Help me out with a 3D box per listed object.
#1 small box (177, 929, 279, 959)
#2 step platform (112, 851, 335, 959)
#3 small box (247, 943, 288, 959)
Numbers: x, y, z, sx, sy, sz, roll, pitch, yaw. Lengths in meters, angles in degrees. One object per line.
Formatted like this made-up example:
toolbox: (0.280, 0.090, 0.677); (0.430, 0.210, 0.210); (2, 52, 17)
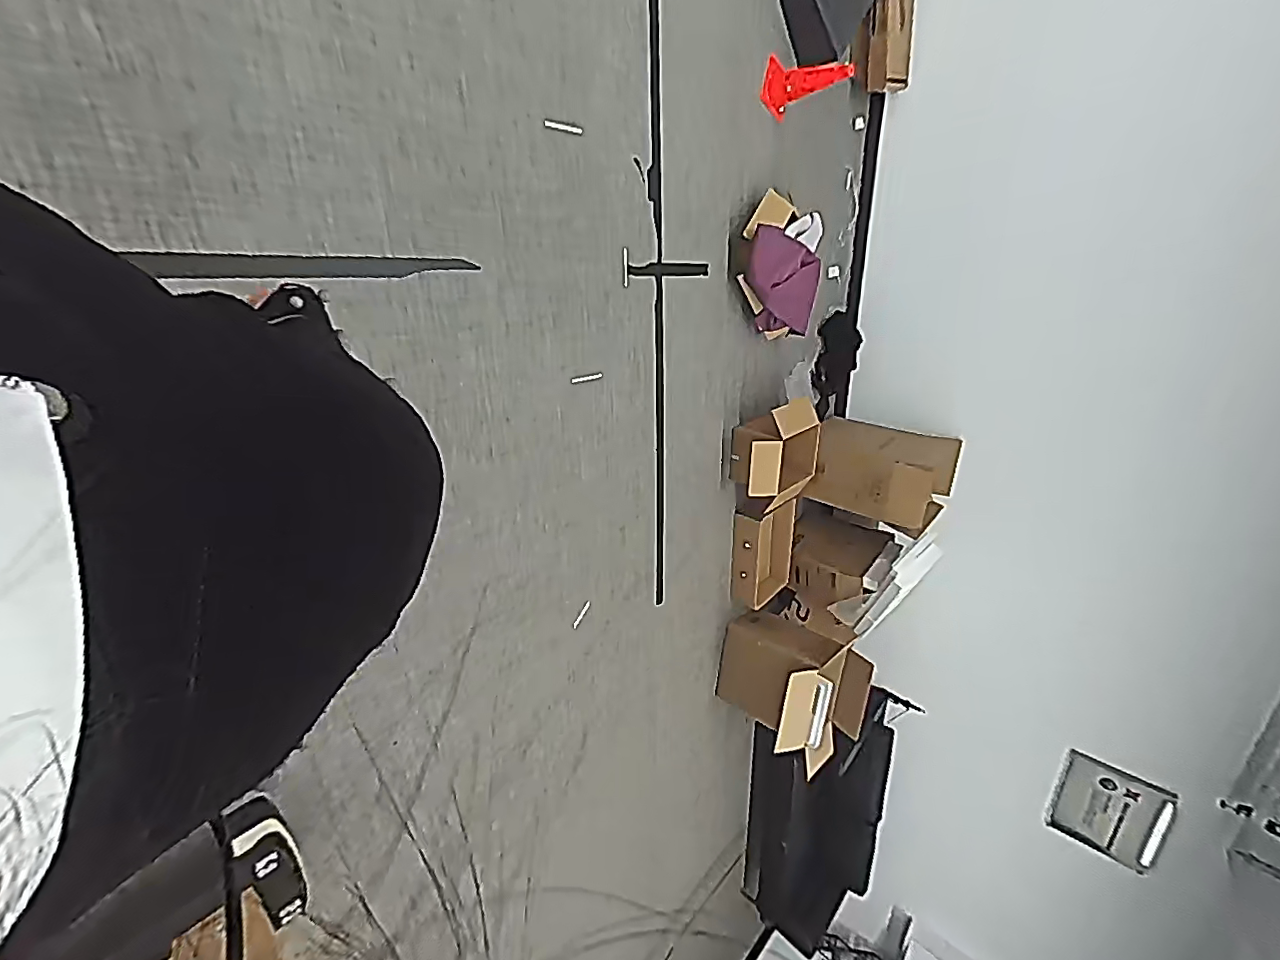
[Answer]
small box: (-0.959, 1.137, 1.280); (0.168, 0.176, 0.179); (-25, 122, -42)
step platform: (-1.045, 1.152, 1.129); (0.684, 0.204, 0.286); (-25, 122, -42)
small box: (-0.836, 1.181, 1.180); (0.168, 0.176, 0.179); (-26, 122, -41)
